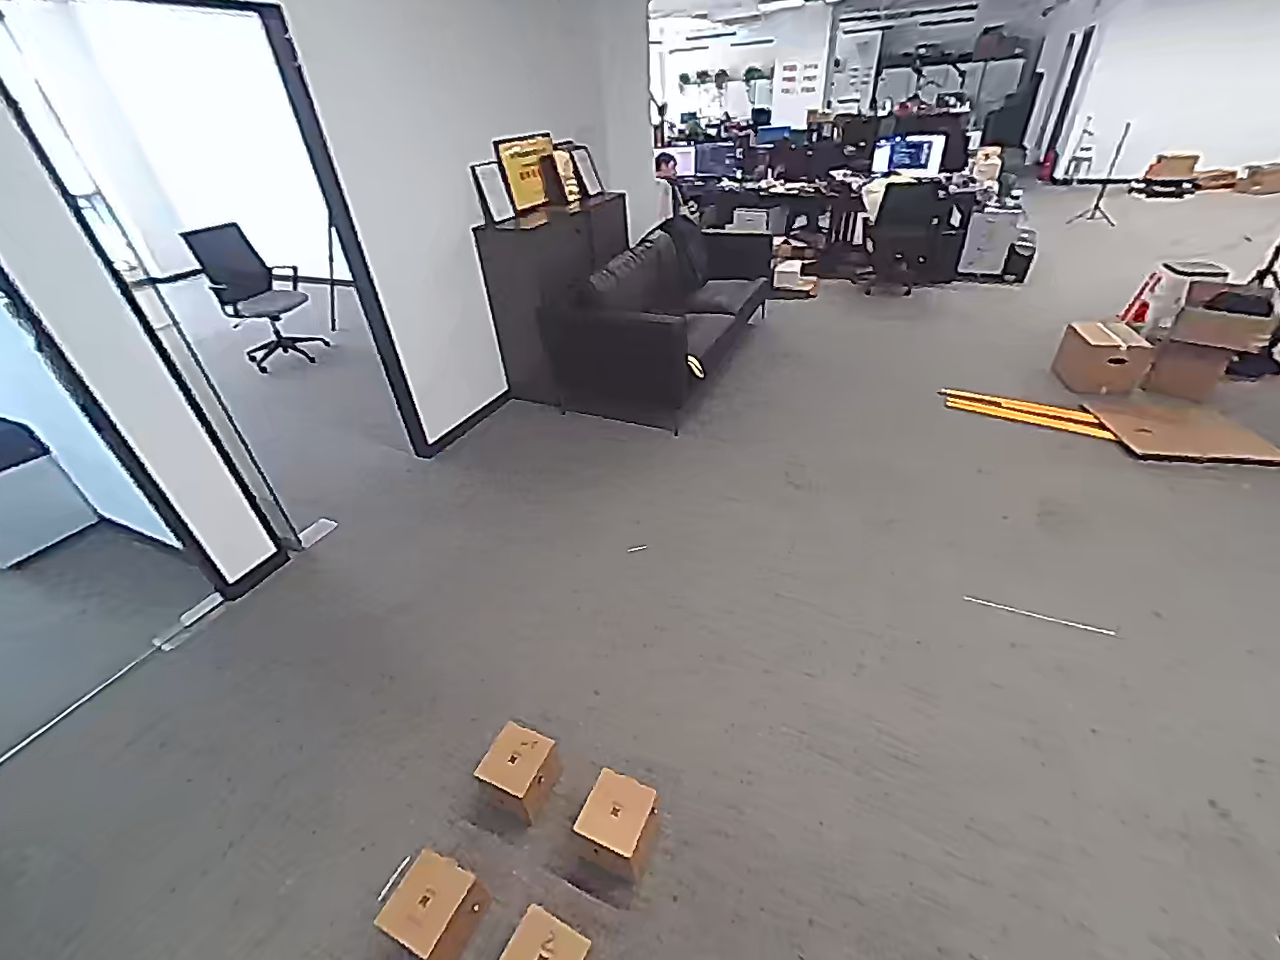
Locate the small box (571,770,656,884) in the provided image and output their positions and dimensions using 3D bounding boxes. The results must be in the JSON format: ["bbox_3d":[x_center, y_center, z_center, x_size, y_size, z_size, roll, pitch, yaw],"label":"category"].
[{"bbox_3d":[-0.061,0.924,1.439,0.168,0.176,0.179,12,37,22],"label":"small box"}]

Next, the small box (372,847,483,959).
[{"bbox_3d":[-0.500,1.046,1.305,0.168,0.176,0.179,12,38,23],"label":"small box"}]

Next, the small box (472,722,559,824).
[{"bbox_3d":[-0.351,0.851,1.566,0.168,0.176,0.179,13,38,22],"label":"small box"}]
